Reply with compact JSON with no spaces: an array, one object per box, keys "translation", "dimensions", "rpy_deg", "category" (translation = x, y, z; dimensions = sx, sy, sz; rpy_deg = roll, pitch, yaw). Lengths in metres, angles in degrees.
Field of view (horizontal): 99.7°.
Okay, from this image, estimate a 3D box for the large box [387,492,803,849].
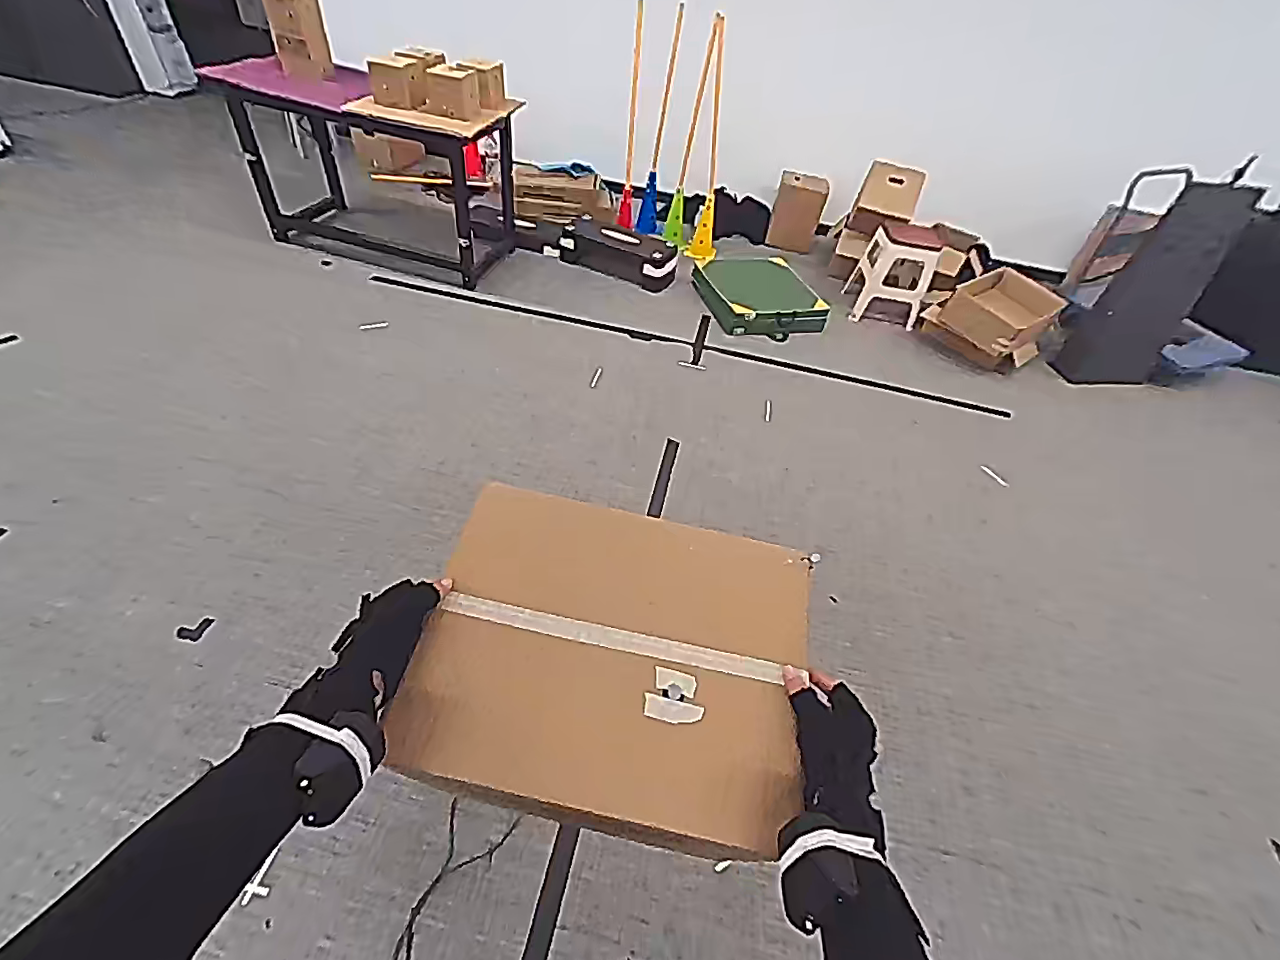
[{"translation":[-0.036,0.258,0.707],"dimensions":[0.408,0.320,0.320],"rpy_deg":[12,55,1],"category":"large box"}]
